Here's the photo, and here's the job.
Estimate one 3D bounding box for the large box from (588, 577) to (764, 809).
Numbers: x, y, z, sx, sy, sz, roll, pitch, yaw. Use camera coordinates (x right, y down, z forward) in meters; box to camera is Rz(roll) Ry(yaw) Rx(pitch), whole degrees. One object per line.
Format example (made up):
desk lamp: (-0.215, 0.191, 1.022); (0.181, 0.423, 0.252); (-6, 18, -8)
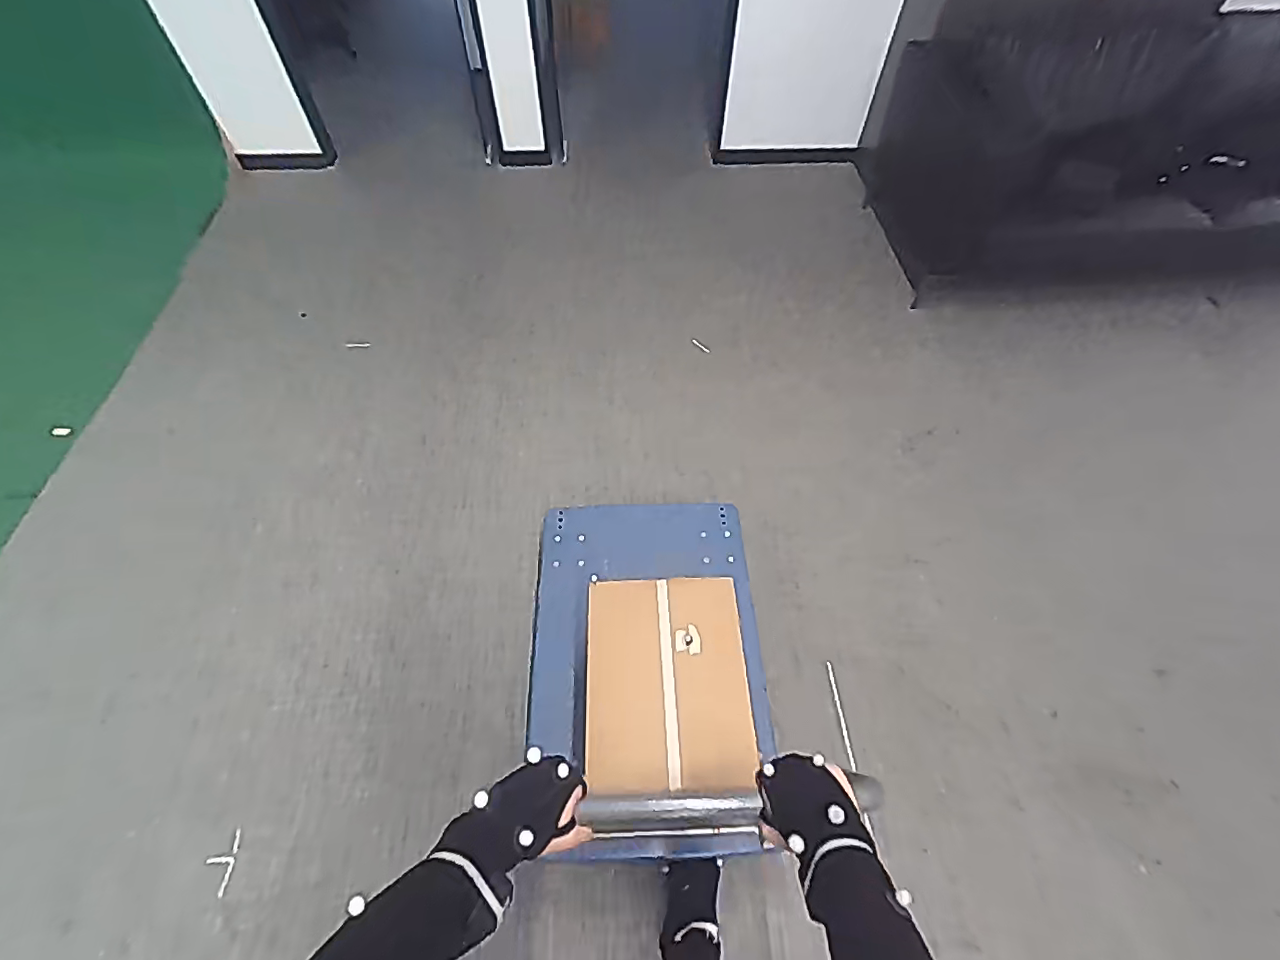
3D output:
large box: (0.056, 0.466, 1.180); (0.320, 0.320, 0.408); (-1, 55, -2)
